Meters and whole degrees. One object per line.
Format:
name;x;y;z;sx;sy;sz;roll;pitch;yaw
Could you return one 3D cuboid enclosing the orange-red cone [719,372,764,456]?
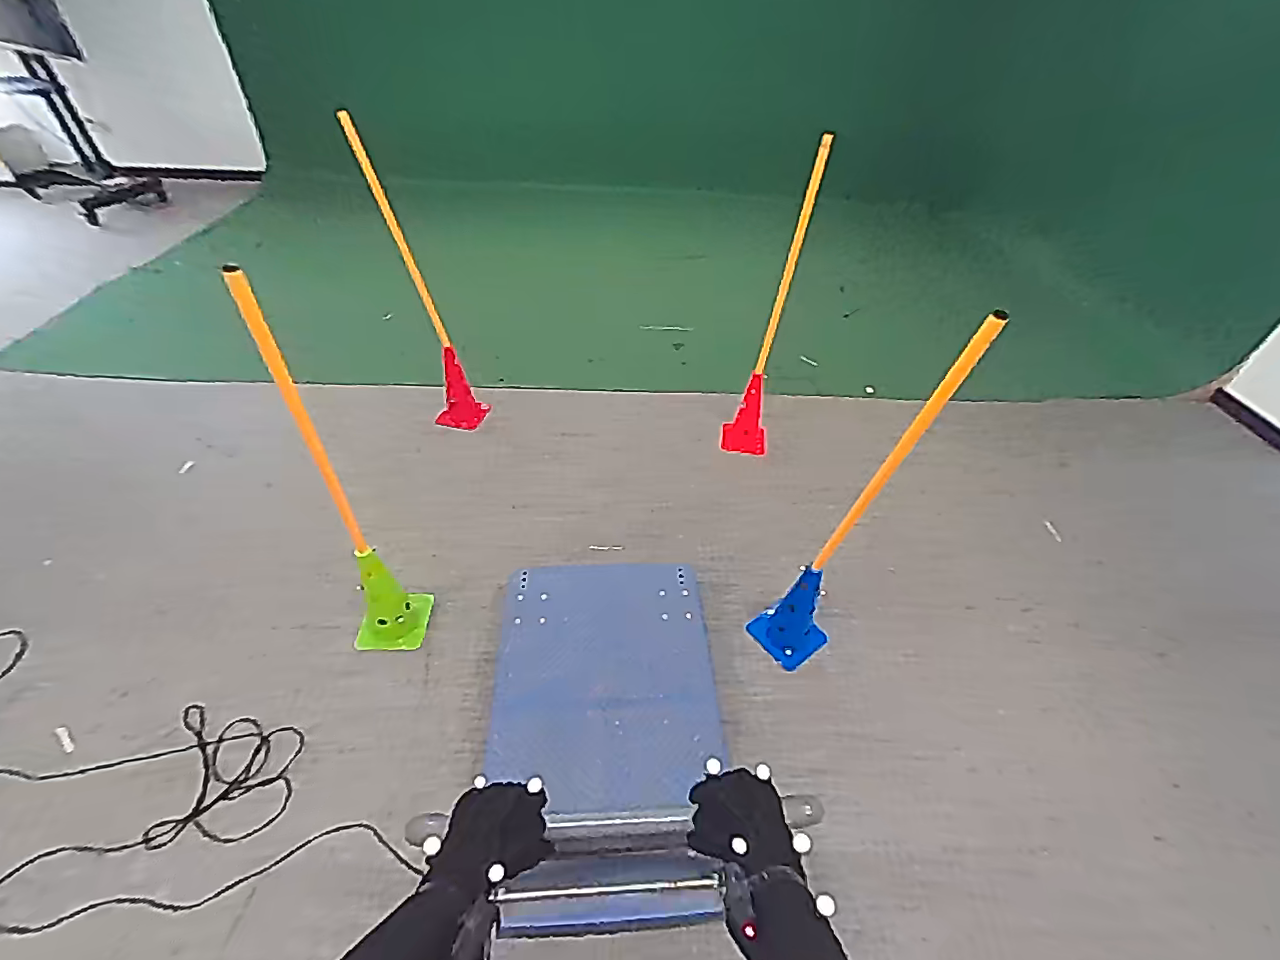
orange-red cone;0.469;-0.305;2.337;0.198;0.360;0.199;8;44;6
